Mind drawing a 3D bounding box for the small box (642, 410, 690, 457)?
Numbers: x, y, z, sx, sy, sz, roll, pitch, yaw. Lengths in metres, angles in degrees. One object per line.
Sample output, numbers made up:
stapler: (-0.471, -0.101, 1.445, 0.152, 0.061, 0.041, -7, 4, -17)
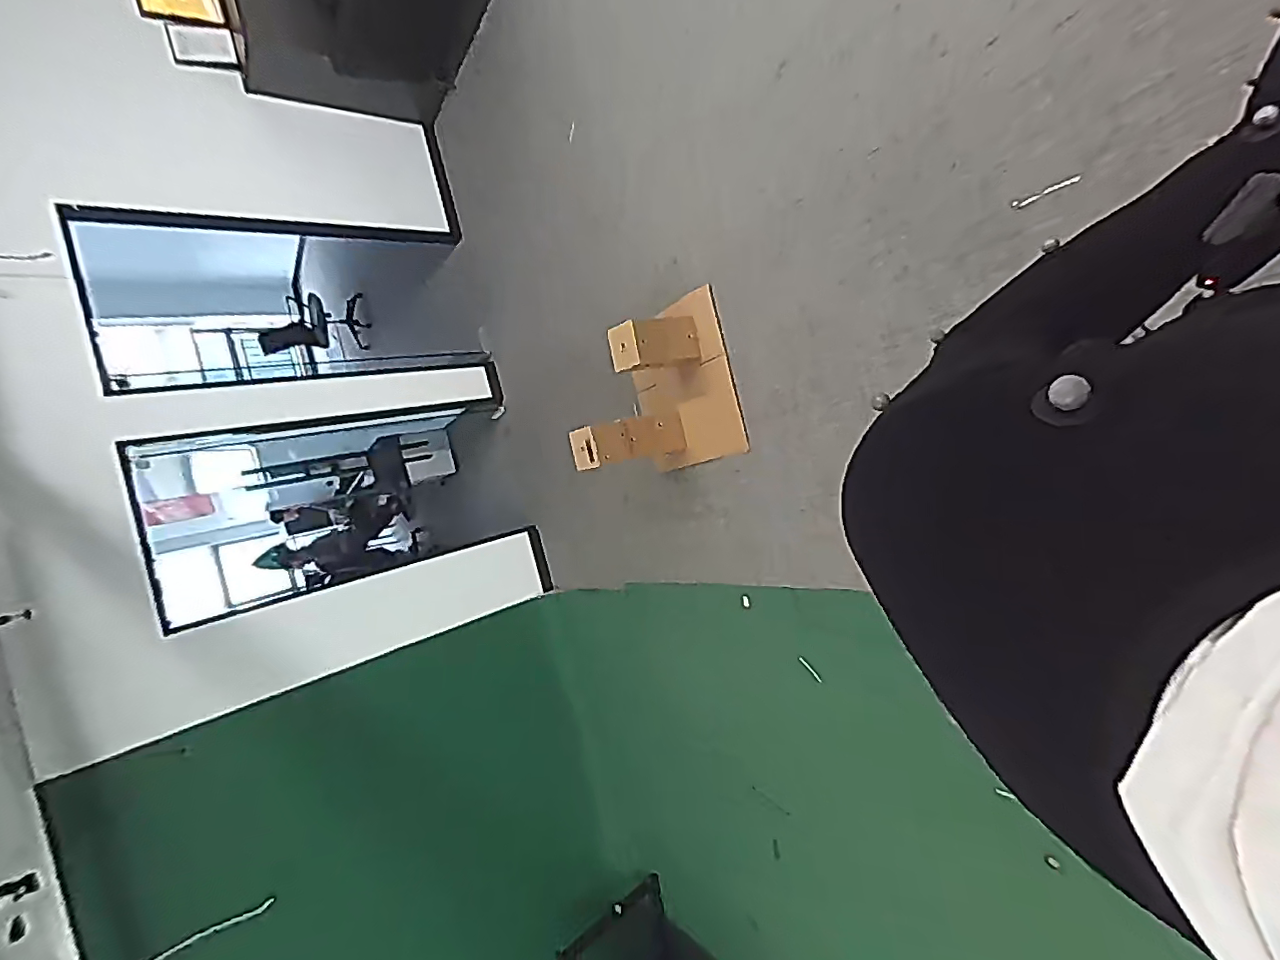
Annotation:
small box: (0.099, -0.213, 2.444, 0.168, 0.176, 0.179, -11, 93, 54)

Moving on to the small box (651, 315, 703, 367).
small box: (0.141, -0.583, 2.265, 0.168, 0.176, 0.179, -9, 95, 53)

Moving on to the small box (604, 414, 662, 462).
small box: (-0.027, -0.185, 2.348, 0.168, 0.176, 0.179, -11, 94, 53)

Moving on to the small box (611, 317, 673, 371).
small box: (0.013, -0.547, 2.170, 0.168, 0.176, 0.179, -5, 98, 52)
